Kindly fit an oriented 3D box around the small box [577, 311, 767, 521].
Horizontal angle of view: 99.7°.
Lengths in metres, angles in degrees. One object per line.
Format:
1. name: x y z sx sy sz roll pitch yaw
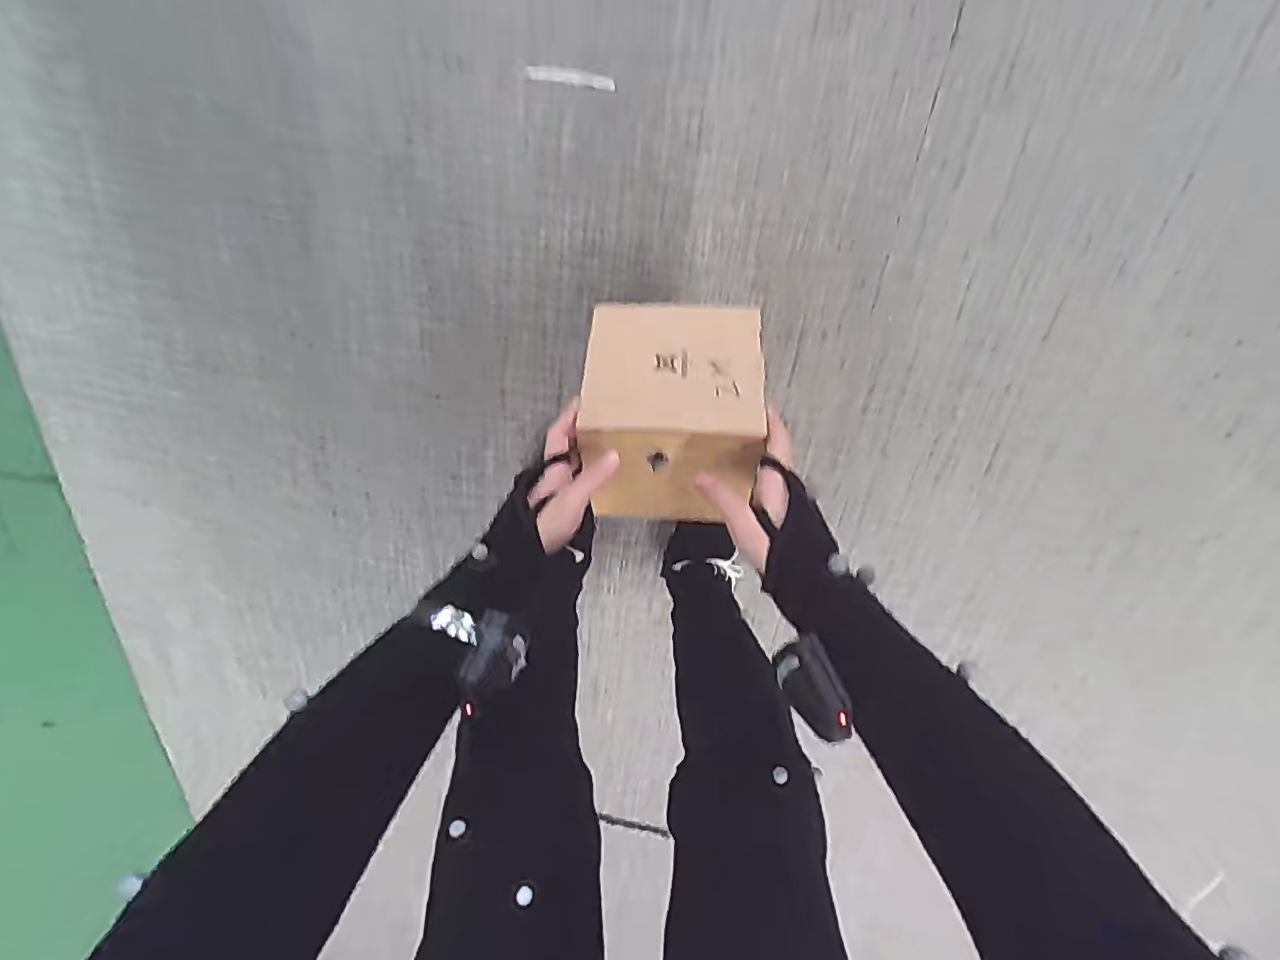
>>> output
1. small box: 0.038 -0.065 0.598 0.179 0.168 0.176 2 148 4
